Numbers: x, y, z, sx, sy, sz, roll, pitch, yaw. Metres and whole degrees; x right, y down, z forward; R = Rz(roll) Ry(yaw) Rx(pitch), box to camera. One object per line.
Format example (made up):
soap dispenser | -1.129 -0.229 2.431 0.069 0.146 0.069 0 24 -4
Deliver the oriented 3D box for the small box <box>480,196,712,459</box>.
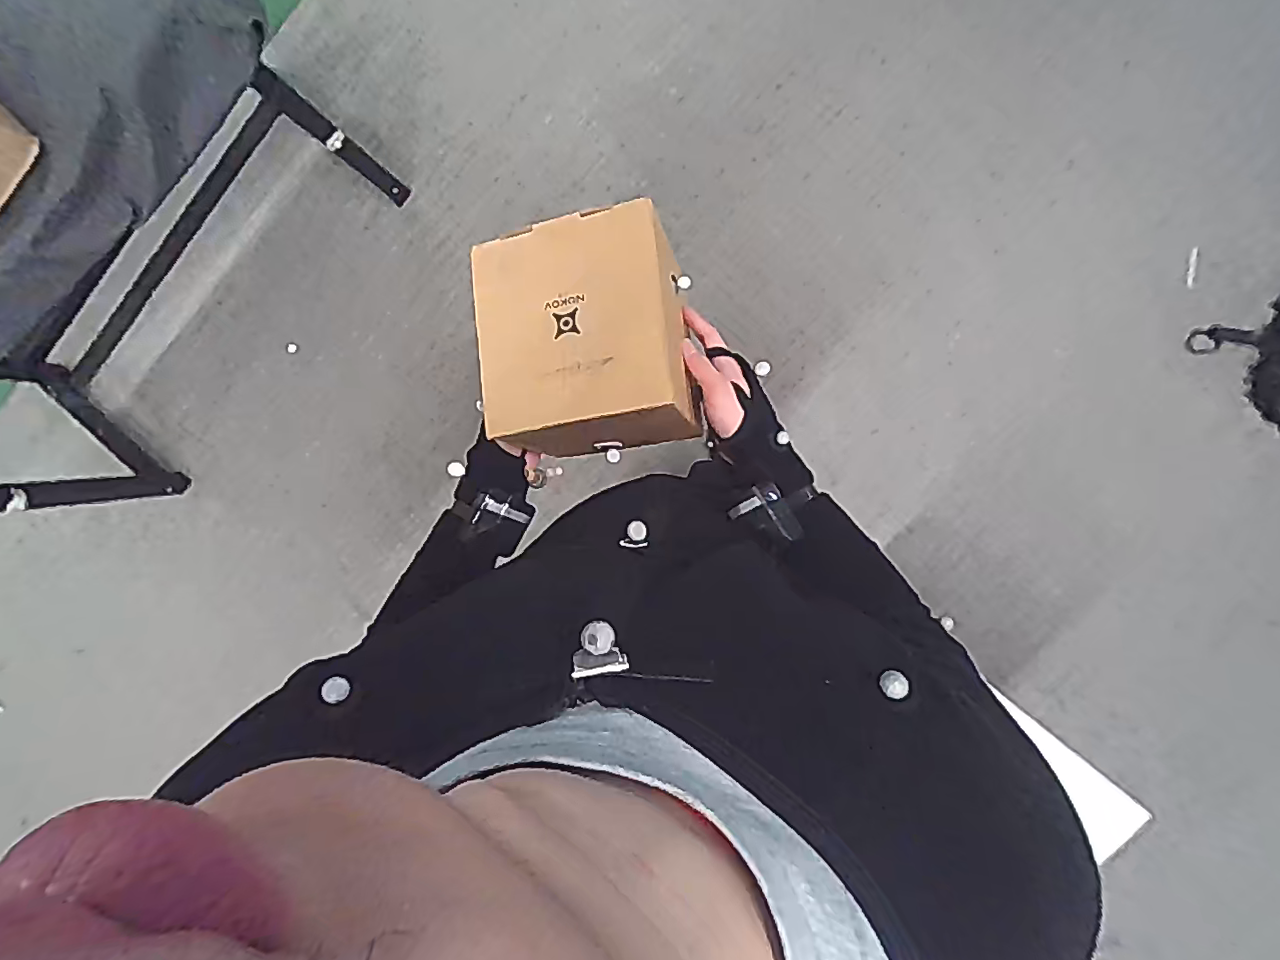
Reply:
small box | -0.031 -0.127 0.521 0.168 0.176 0.179 -10 83 15
